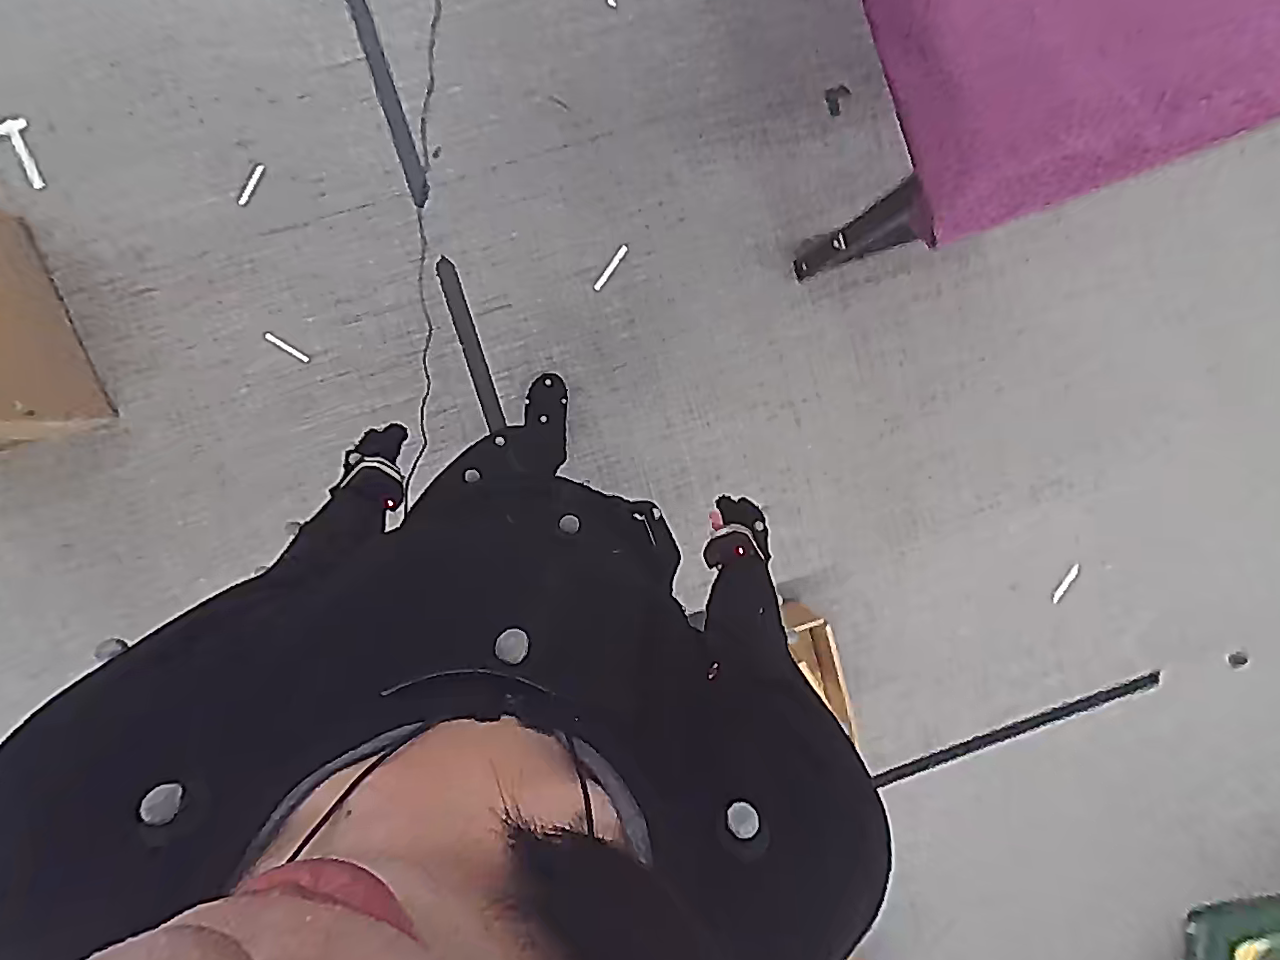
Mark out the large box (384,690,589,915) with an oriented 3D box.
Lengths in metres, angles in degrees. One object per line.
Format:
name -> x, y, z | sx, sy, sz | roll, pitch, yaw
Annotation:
large box -> -0.371, 0.818, 1.422 | 0.408, 0.320, 0.320 | -17, 98, -2
